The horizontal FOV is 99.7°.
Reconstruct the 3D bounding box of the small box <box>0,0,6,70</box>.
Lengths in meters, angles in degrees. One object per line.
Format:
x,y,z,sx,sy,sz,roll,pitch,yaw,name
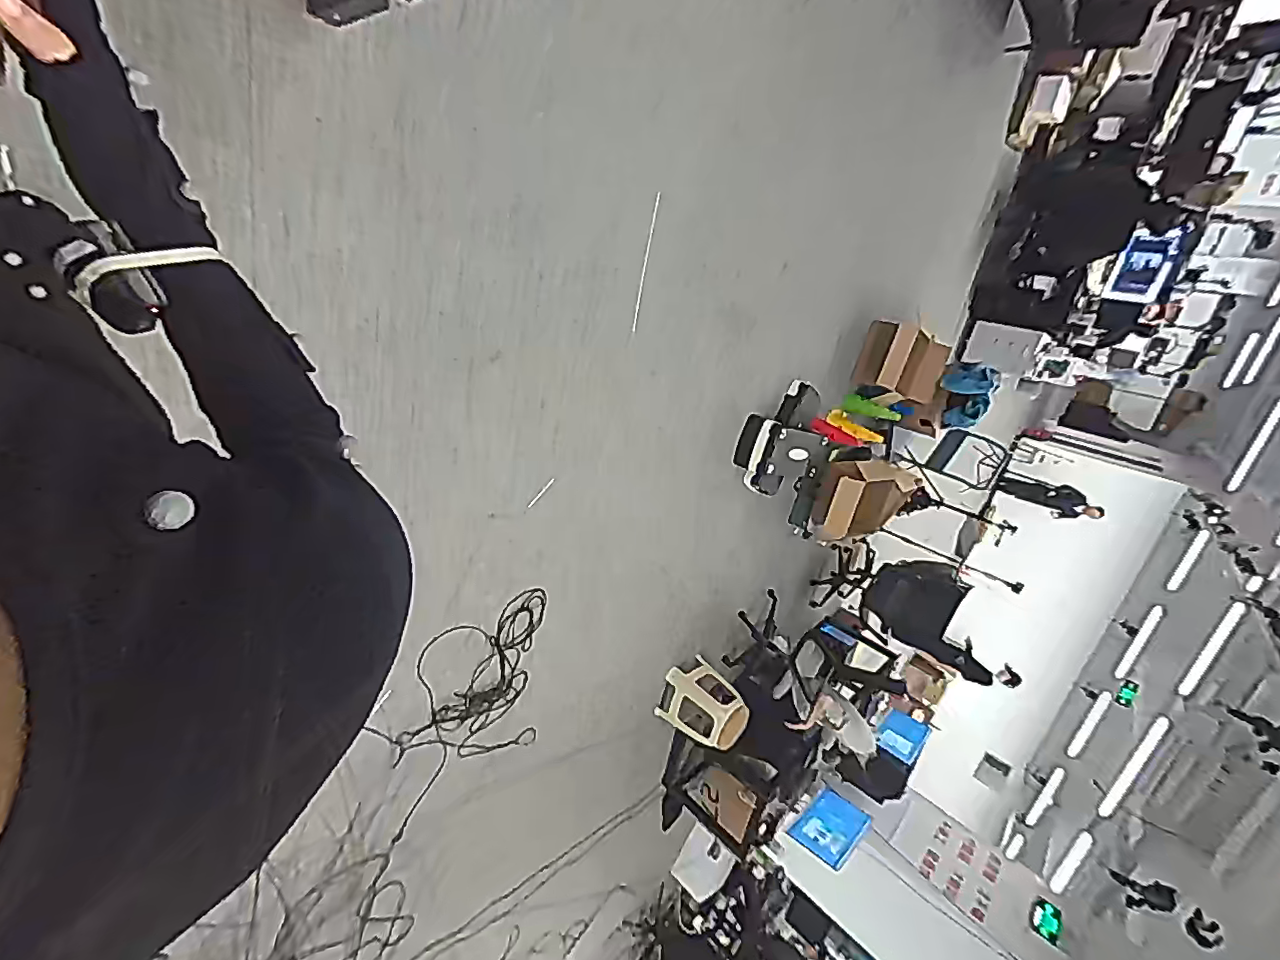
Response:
-0.426,-0.330,0.247,0.168,0.176,0.179,-8,108,-48,small box
